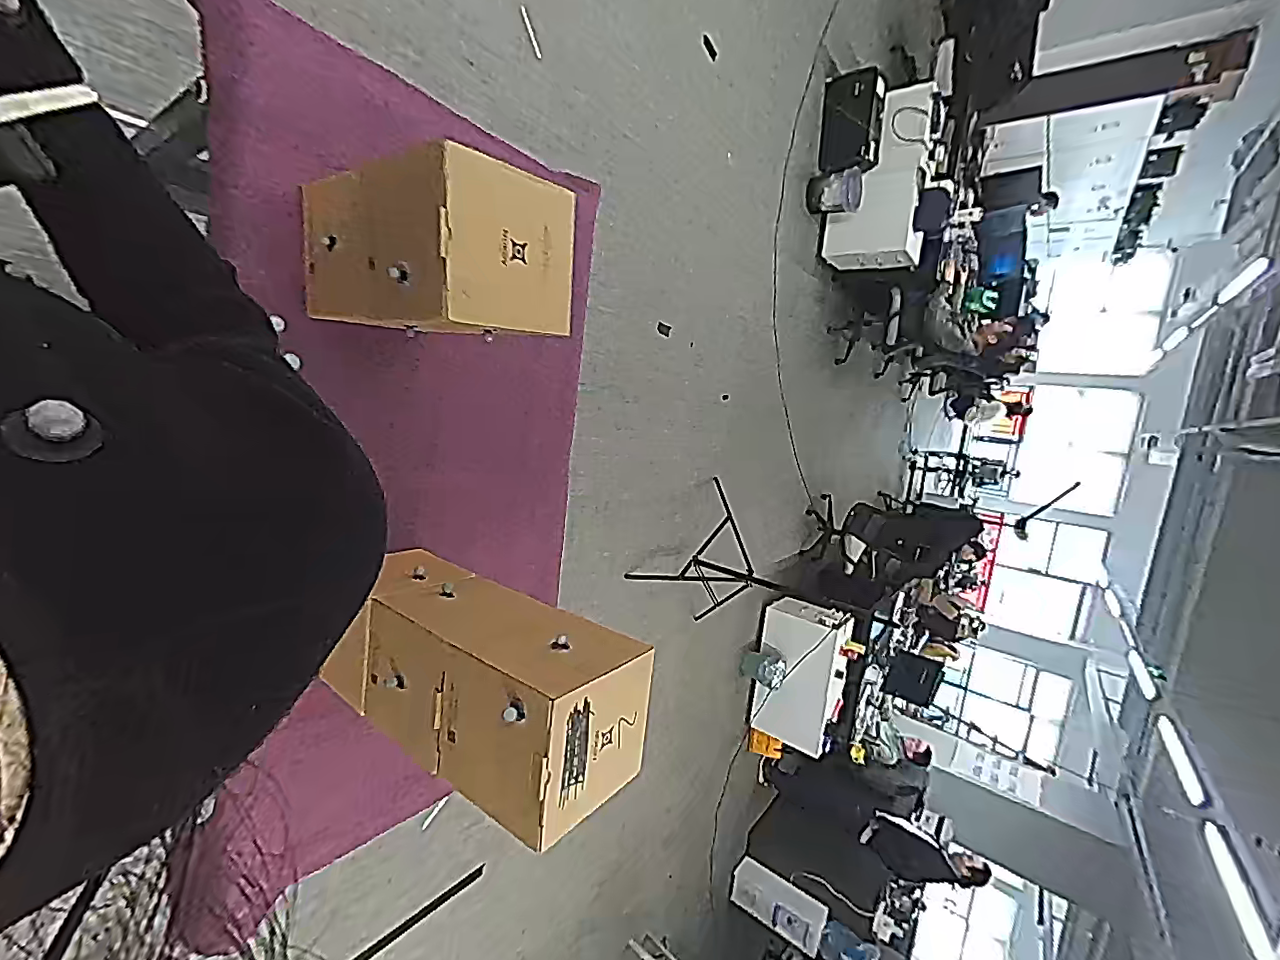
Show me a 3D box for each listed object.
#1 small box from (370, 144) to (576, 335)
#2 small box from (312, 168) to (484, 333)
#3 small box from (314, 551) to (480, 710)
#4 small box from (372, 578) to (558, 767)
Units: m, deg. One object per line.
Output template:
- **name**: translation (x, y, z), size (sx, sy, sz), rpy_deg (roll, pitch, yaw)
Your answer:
- **small box**: translation (-0.198, -0.262, 0.635), size (0.179, 0.176, 0.168), rpy_deg (-13, 112, -53)
- **small box**: translation (-0.323, -0.294, 0.734), size (0.179, 0.176, 0.168), rpy_deg (-10, 109, -53)
- **small box**: translation (-0.372, 0.215, 0.825), size (0.179, 0.176, 0.168), rpy_deg (-3, 102, -54)
- **small box**: translation (-0.238, 0.243, 0.735), size (0.179, 0.176, 0.168), rpy_deg (-2, 101, -54)
